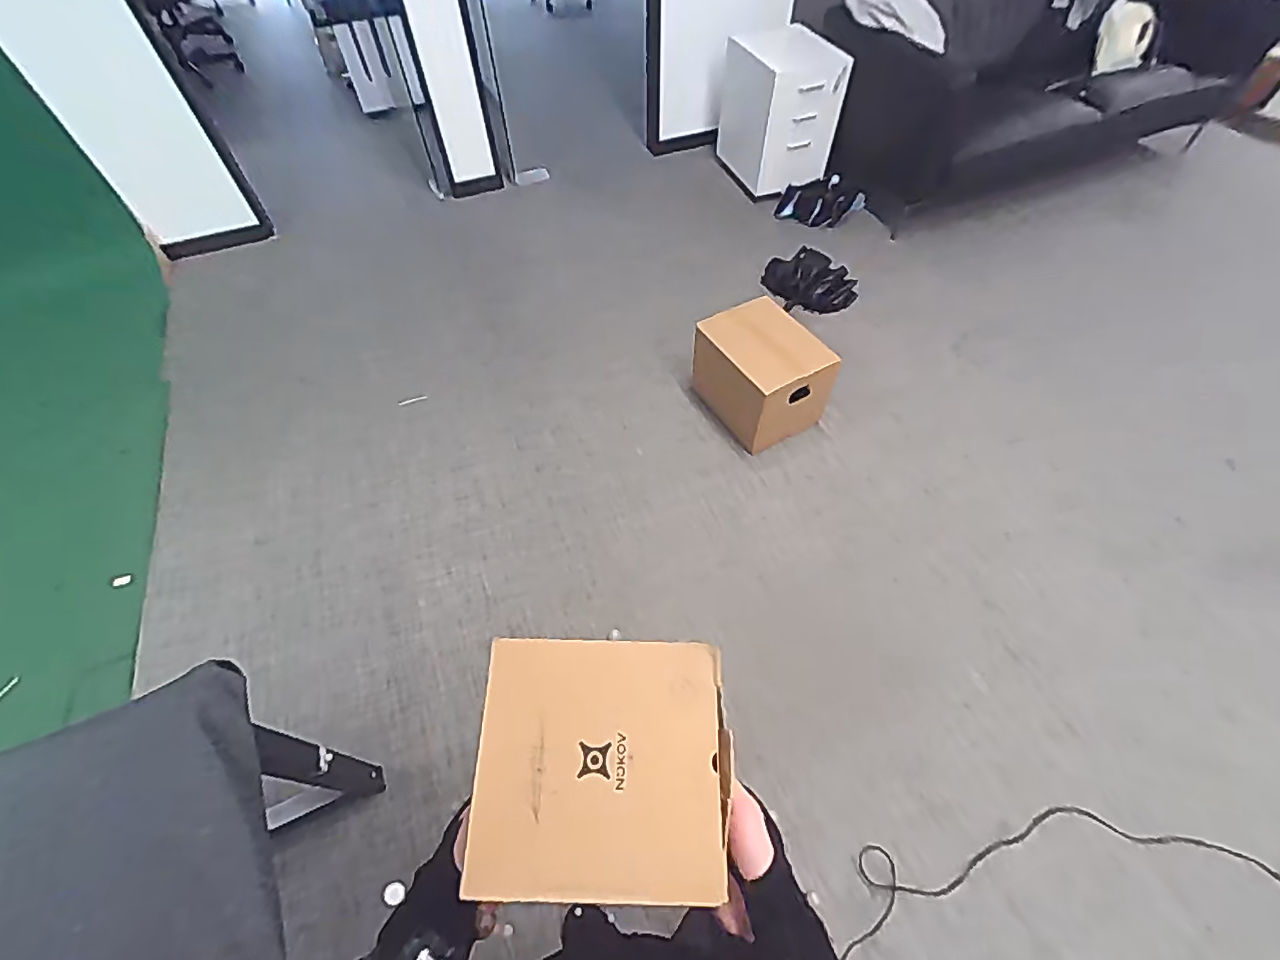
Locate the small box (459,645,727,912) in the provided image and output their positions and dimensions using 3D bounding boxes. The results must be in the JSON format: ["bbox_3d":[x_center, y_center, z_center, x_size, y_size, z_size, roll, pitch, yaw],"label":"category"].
[{"bbox_3d":[-0.030,0.236,0.453,0.179,0.176,0.168,1,64,0],"label":"small box"}]
